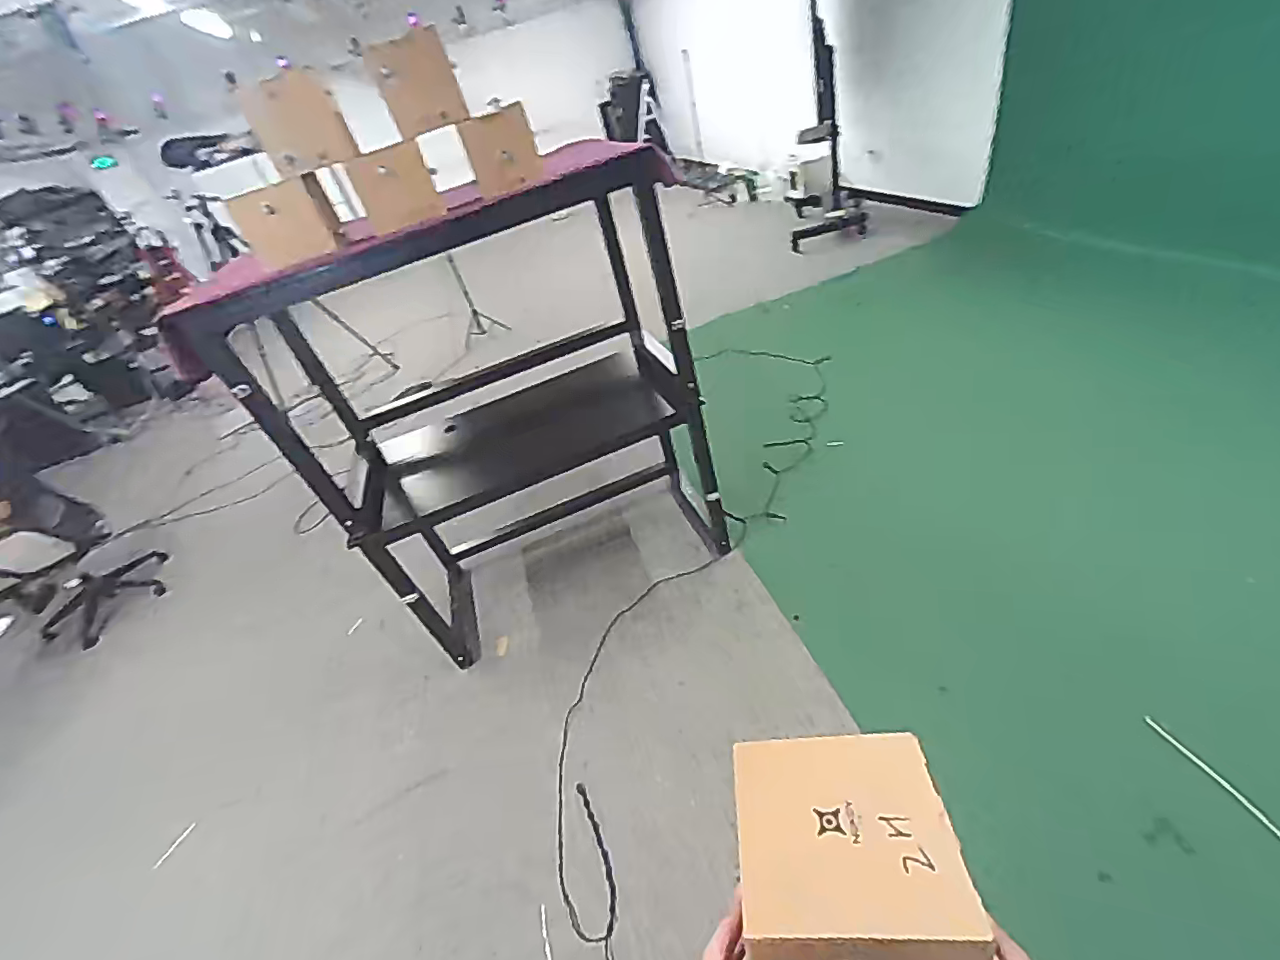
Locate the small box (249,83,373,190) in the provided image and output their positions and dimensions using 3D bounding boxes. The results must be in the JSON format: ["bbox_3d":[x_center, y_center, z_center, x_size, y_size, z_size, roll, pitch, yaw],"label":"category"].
[{"bbox_3d":[-0.734,-0.775,1.233,0.168,0.176,0.179,-22,35,-6],"label":"small box"}]

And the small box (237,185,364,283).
[{"bbox_3d":[-0.806,-0.595,1.305,0.179,0.176,0.168,-19,36,-3],"label":"small box"}]

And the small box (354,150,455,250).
[{"bbox_3d":[-0.569,-0.690,1.331,0.179,0.176,0.168,-24,36,-7],"label":"small box"}]

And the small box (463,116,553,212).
[{"bbox_3d":[-0.330,-0.792,1.359,0.168,0.176,0.179,-21,37,-4],"label":"small box"}]

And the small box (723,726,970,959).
[{"bbox_3d":[0.178,0.358,0.499,0.179,0.176,0.168,-9,26,11],"label":"small box"}]
